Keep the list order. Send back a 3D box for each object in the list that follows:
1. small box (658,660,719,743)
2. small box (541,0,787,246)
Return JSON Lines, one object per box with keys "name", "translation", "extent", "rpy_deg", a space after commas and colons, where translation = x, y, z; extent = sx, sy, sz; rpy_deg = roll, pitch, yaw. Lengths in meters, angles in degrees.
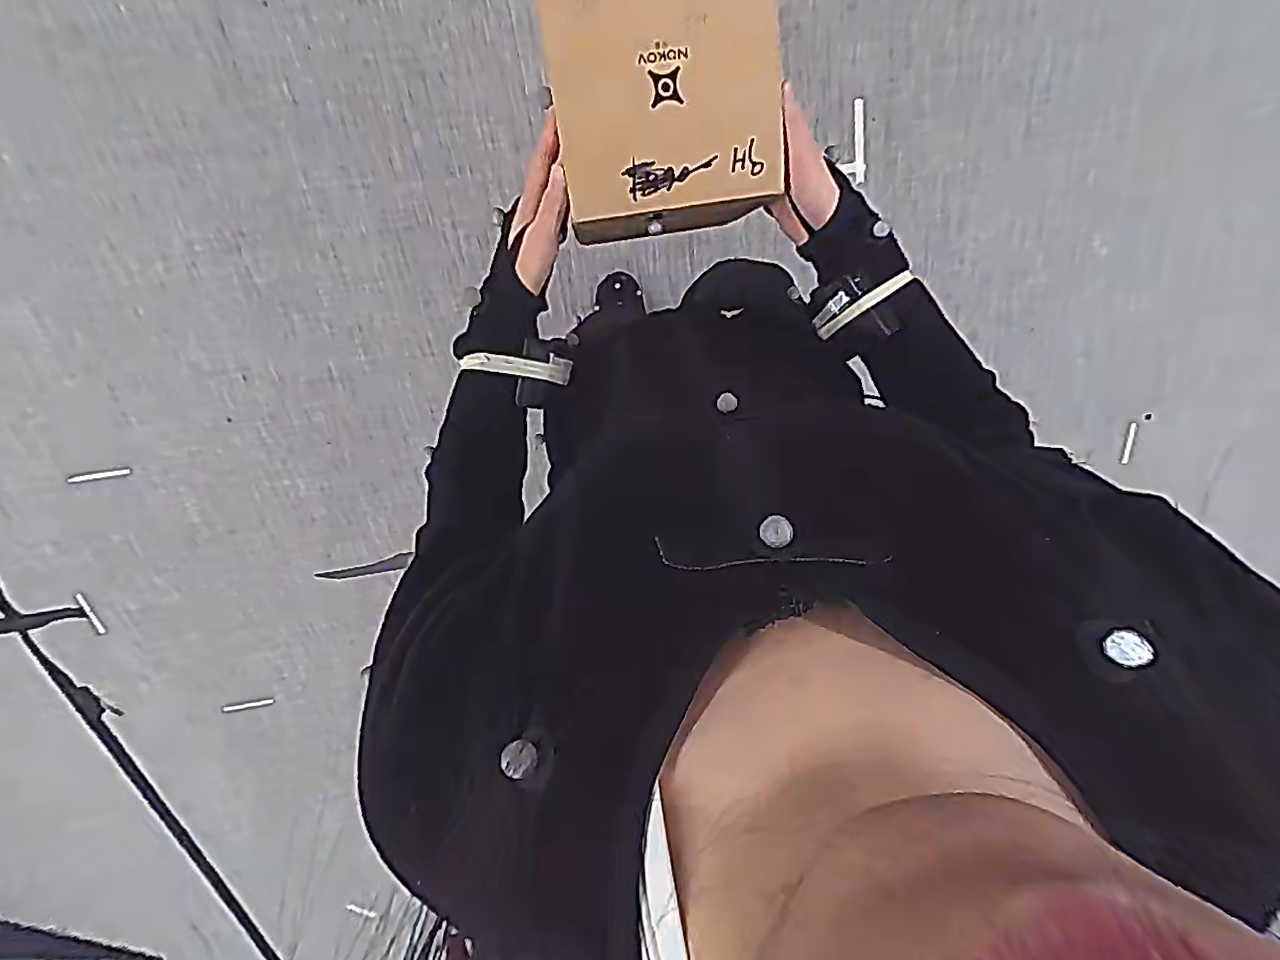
{"name": "small box", "translation": [0.160, 0.733, 1.796], "extent": [0.168, 0.176, 0.179], "rpy_deg": [-11, 113, -3]}
{"name": "small box", "translation": [0.013, -0.309, 0.456], "extent": [0.168, 0.176, 0.179], "rpy_deg": [-9, 108, -2]}
